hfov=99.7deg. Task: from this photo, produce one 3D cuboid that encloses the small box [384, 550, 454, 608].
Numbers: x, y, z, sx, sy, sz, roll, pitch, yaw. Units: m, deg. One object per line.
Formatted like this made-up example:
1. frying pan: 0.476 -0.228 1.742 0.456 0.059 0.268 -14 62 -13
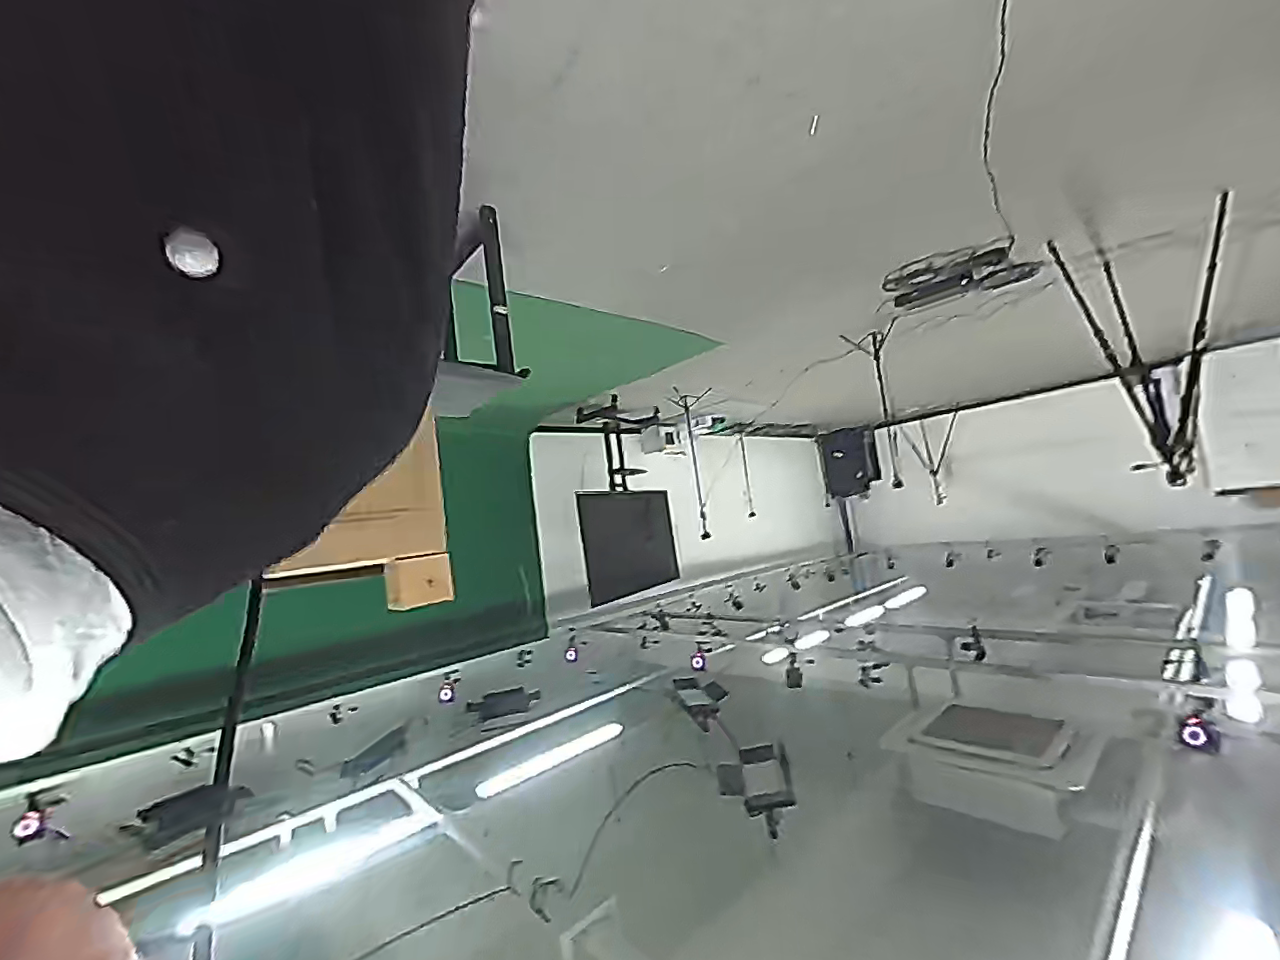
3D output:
1. small box: -0.785 0.347 1.916 0.179 0.176 0.168 -7 175 -41
